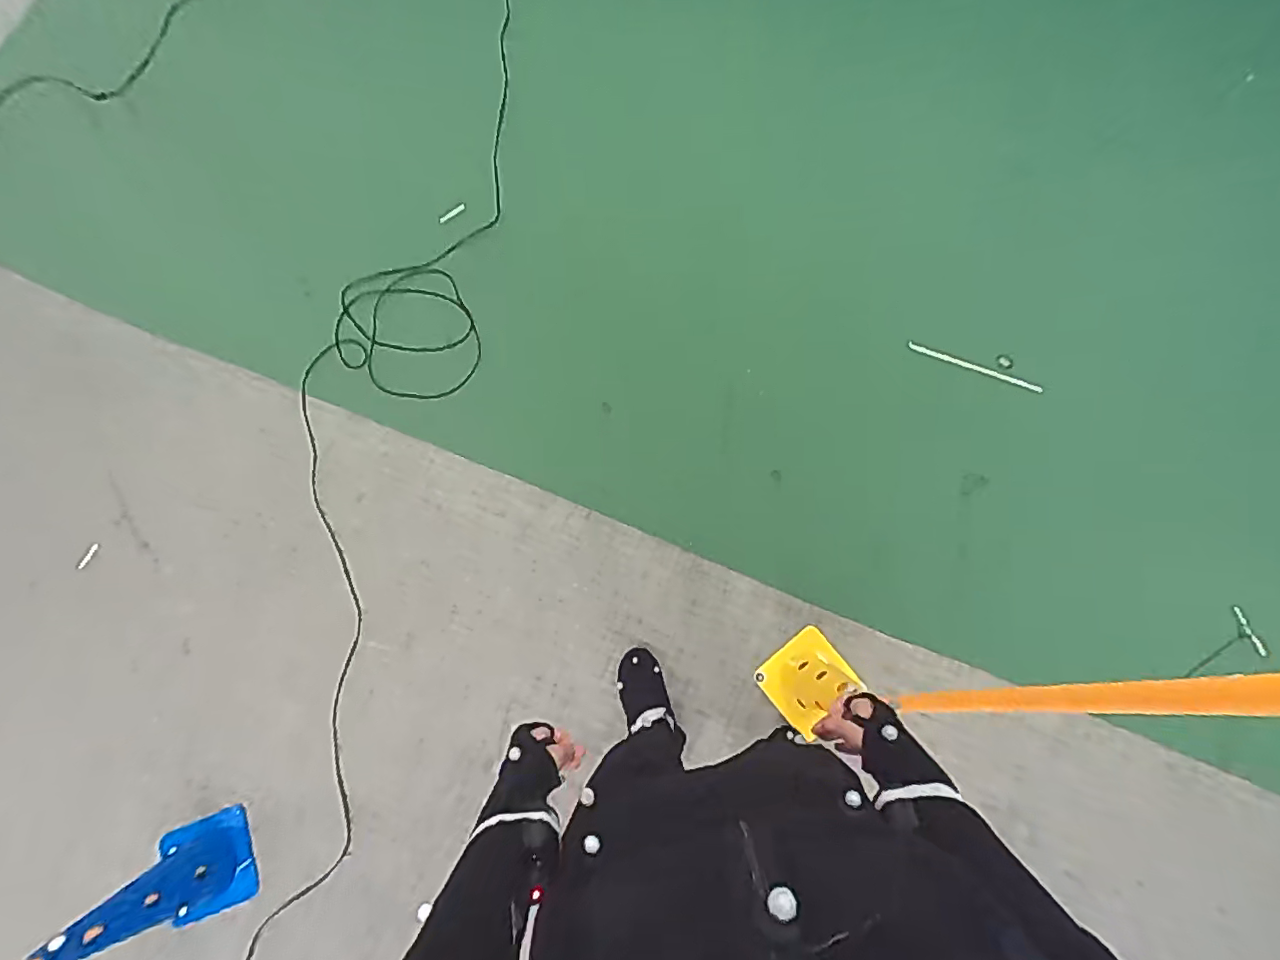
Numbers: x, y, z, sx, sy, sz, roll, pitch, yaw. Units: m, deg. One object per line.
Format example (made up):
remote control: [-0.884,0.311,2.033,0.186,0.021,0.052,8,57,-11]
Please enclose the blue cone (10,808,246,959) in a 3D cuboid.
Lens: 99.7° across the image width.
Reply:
blue cone: [-0.985,0.824,1.042,0.193,0.380,0.192,-23,78,-3]
